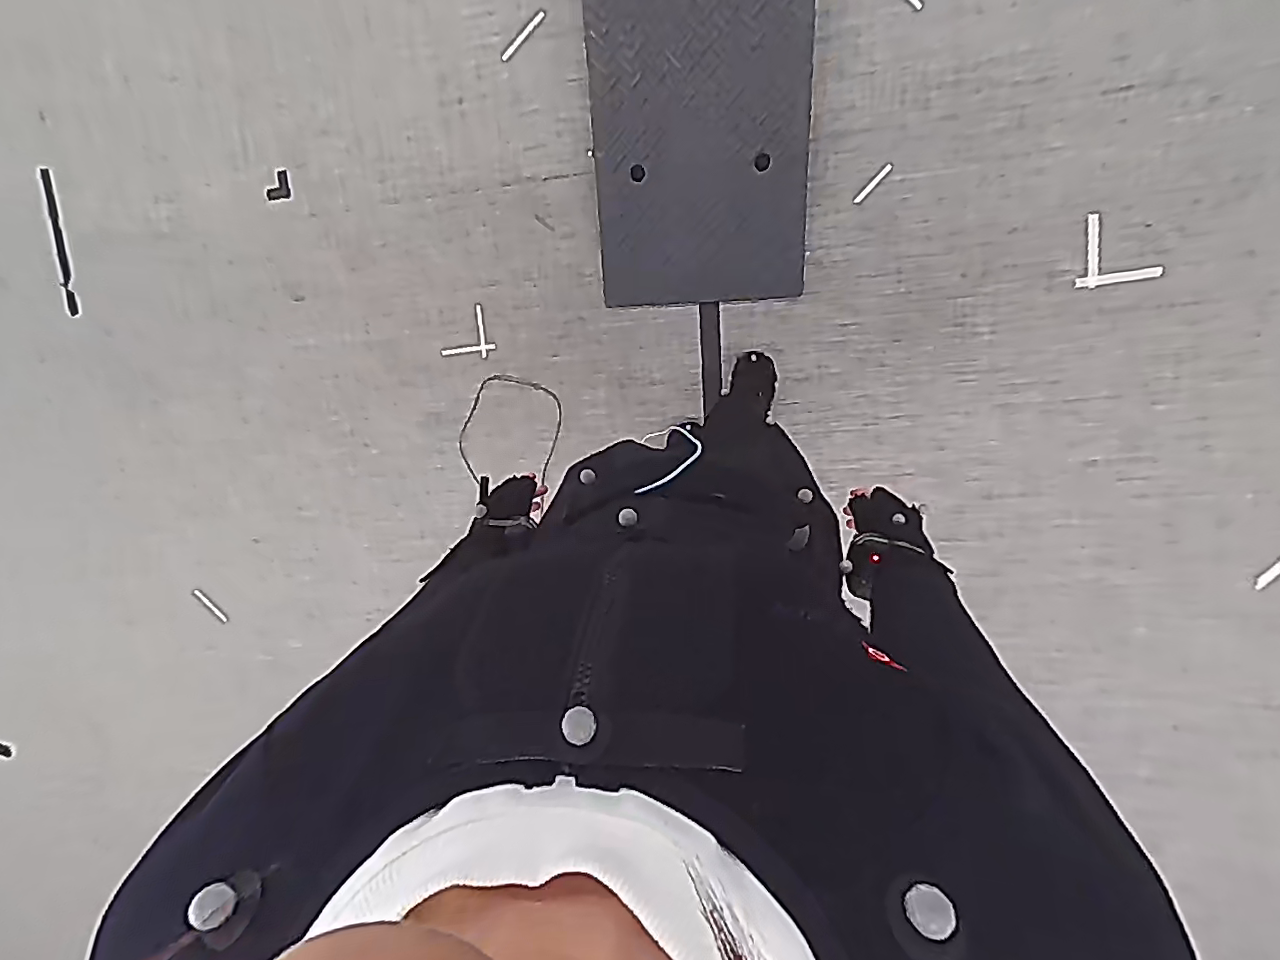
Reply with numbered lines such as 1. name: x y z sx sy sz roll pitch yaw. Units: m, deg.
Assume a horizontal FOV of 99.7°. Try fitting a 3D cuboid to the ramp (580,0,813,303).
1. ramp: 0.120 -0.921 1.171 0.509 0.206 0.991 -3 101 7
